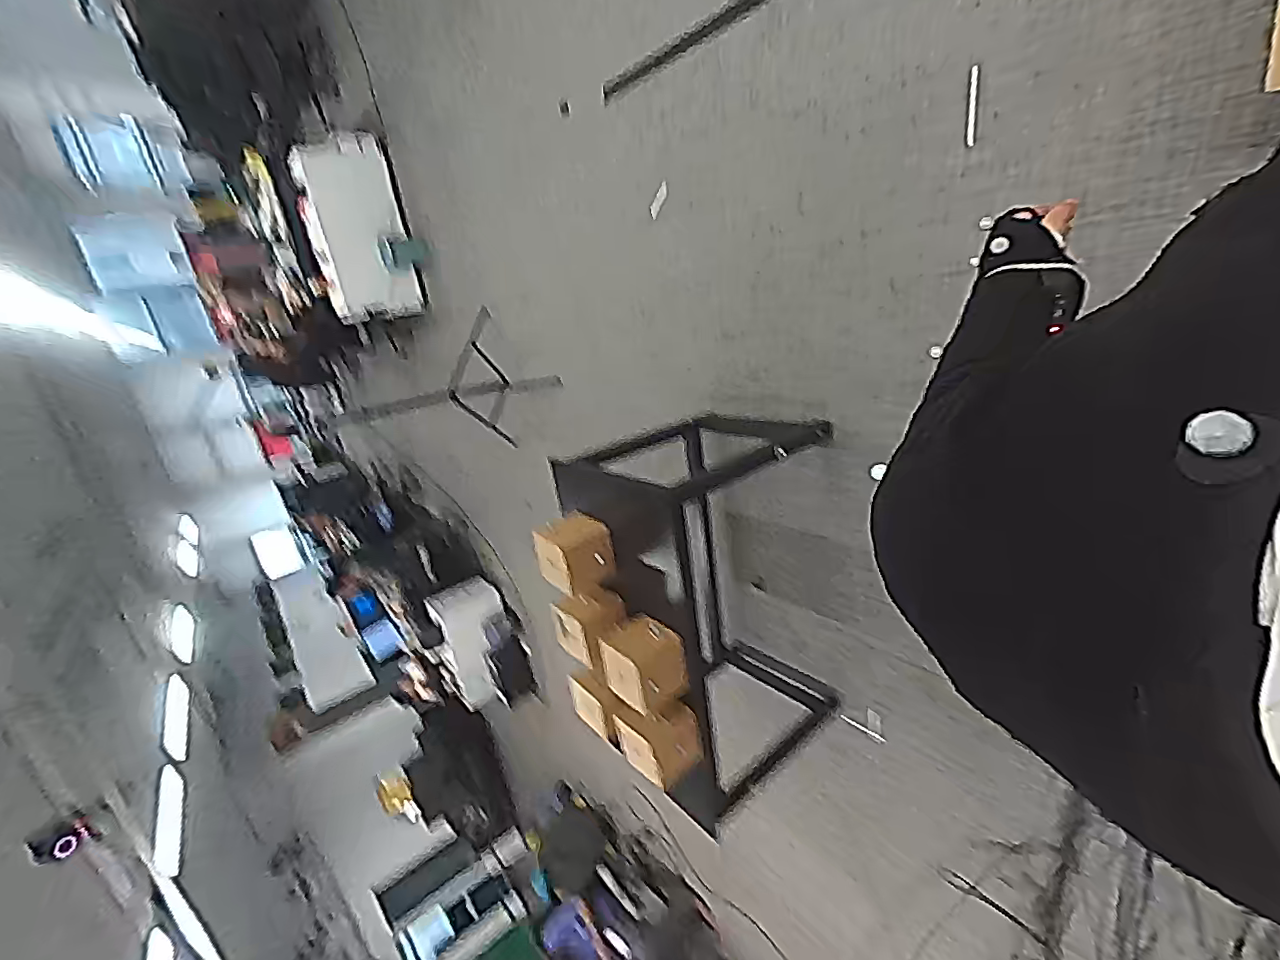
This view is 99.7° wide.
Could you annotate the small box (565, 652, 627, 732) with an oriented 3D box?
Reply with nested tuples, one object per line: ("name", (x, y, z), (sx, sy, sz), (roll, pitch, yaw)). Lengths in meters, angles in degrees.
("small box", (-0.129, 0.707, 1.838), (0.179, 0.176, 0.168), (17, 122, 49))

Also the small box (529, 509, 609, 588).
("small box", (-0.218, 0.203, 1.678), (0.179, 0.176, 0.168), (19, 123, 48))

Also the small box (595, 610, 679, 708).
("small box", (-0.003, 0.505, 1.552), (0.168, 0.176, 0.179), (14, 119, 50))

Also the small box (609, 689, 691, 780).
("small box", (0.037, 0.747, 1.628), (0.179, 0.176, 0.168), (7, 114, 52))
